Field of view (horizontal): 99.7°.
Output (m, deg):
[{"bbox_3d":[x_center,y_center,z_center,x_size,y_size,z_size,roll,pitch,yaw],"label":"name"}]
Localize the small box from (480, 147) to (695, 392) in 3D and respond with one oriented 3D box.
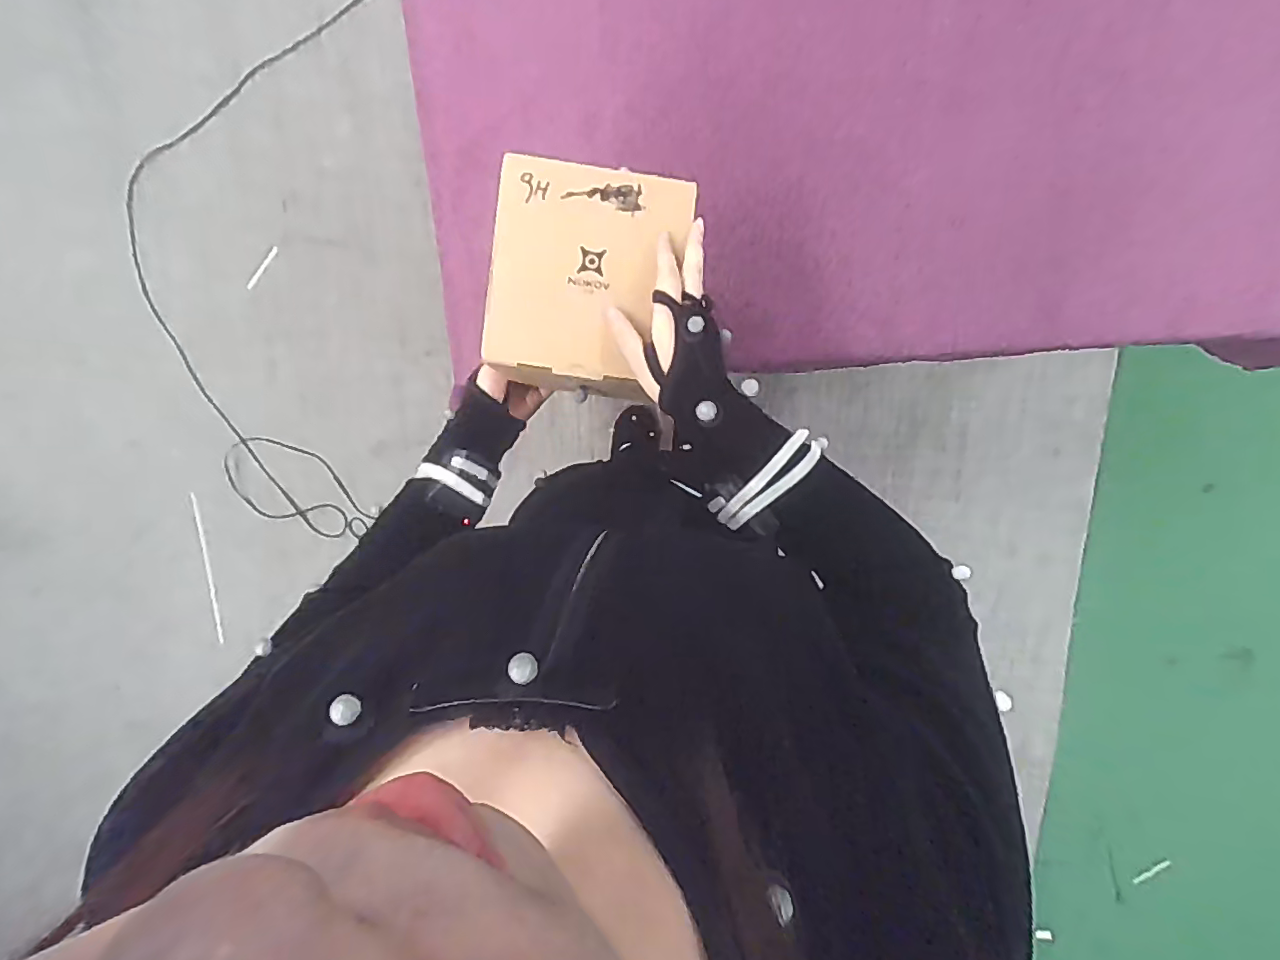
[{"bbox_3d":[-0.049,-0.187,0.539,0.168,0.176,0.179,8,95,-4],"label":"small box"}]
